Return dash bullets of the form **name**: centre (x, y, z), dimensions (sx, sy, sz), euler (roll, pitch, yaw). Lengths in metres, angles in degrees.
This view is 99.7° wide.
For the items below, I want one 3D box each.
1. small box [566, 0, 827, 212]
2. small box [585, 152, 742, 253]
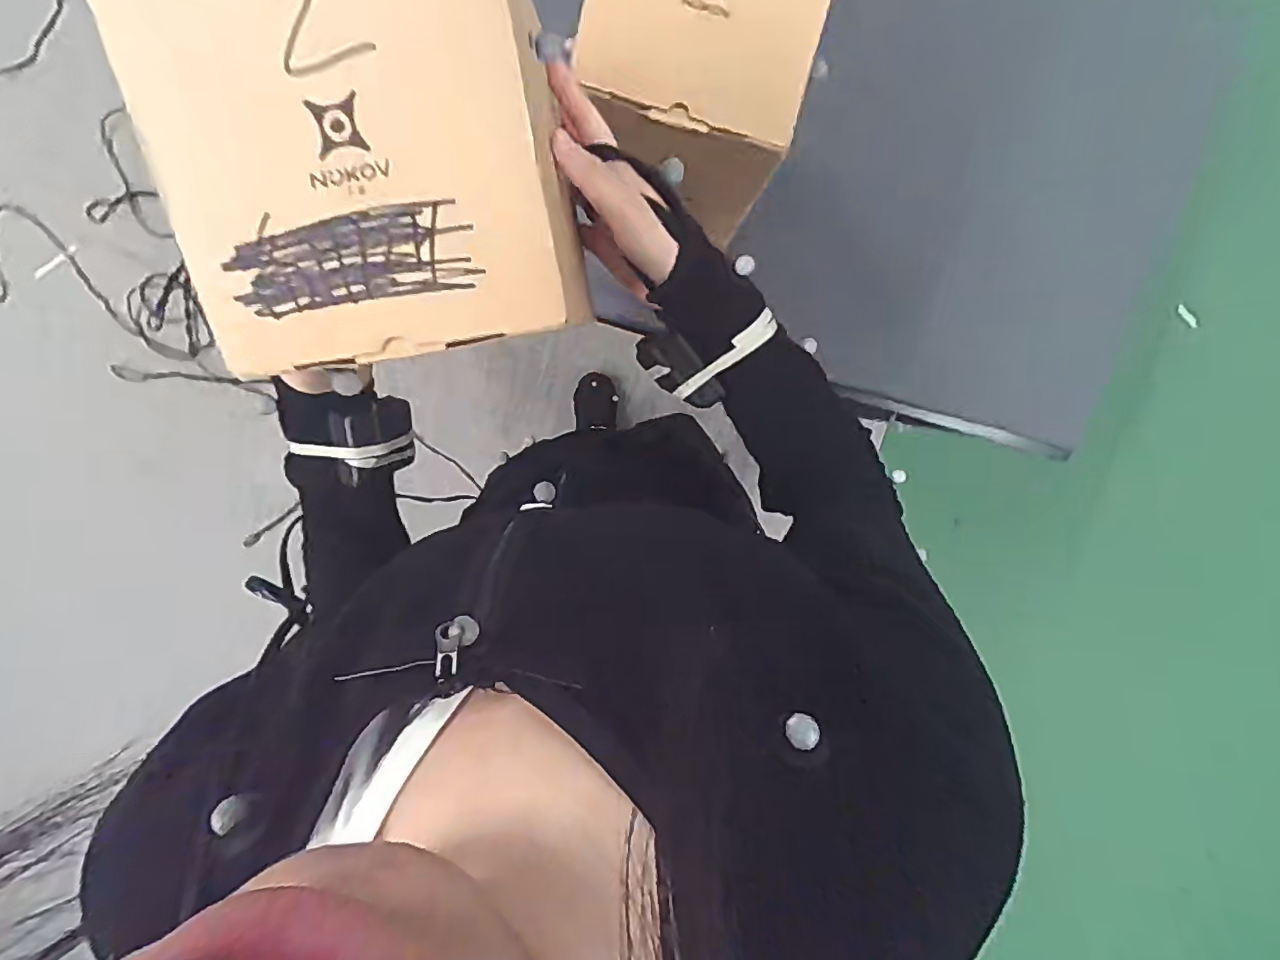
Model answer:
- **small box**: centre (0.045, -0.354, 0.445), dimensions (0.168, 0.176, 0.179), euler (14, 99, -3)
- **small box**: centre (0.042, -0.381, 0.605), dimensions (0.168, 0.176, 0.179), euler (14, 99, -3)
